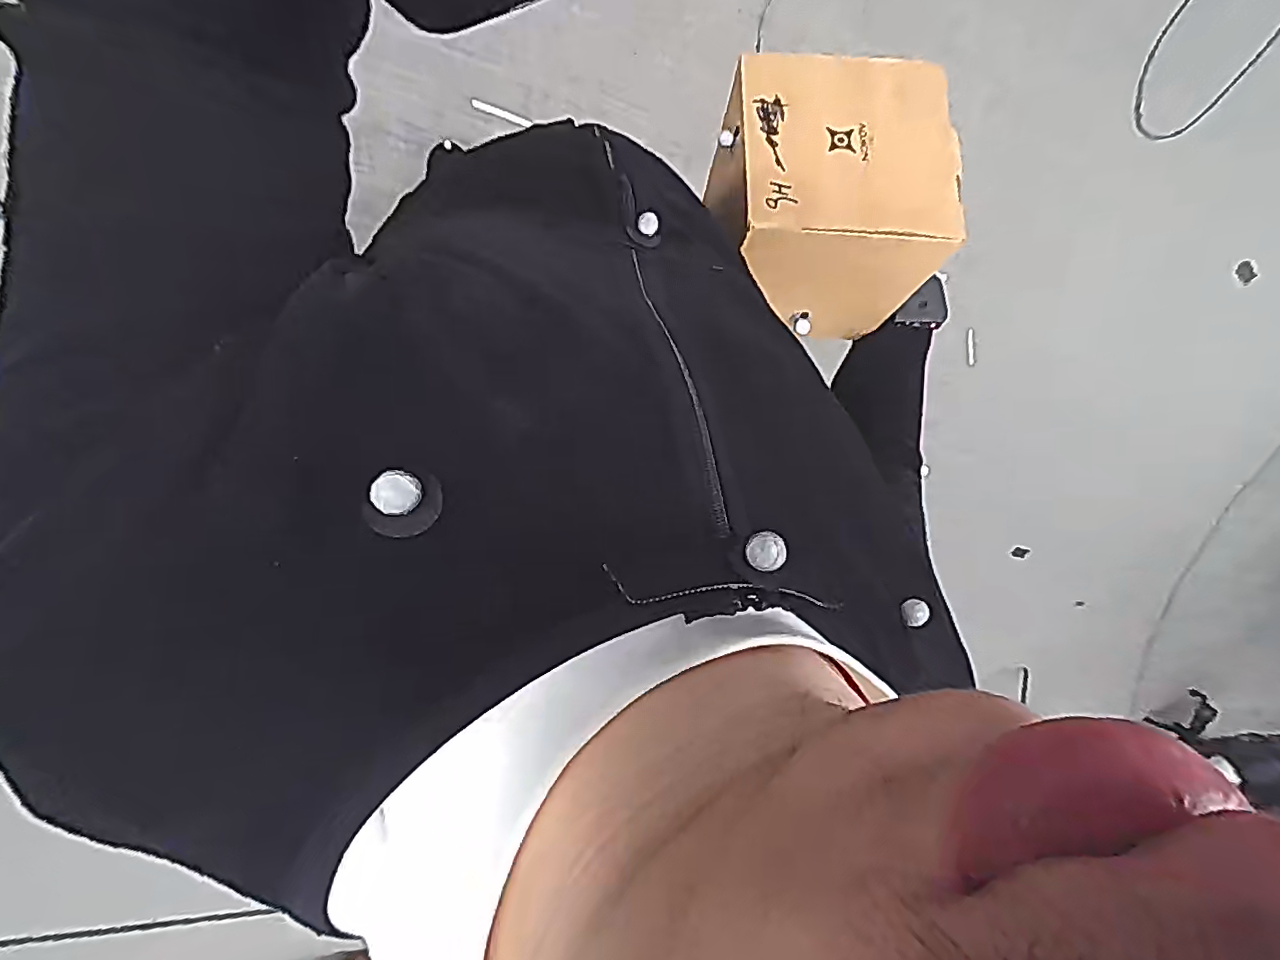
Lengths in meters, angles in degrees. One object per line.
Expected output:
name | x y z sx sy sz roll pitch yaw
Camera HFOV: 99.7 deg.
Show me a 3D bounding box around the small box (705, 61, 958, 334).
small box | 0.167 -0.255 0.527 0.179 0.176 0.168 1 77 -5
